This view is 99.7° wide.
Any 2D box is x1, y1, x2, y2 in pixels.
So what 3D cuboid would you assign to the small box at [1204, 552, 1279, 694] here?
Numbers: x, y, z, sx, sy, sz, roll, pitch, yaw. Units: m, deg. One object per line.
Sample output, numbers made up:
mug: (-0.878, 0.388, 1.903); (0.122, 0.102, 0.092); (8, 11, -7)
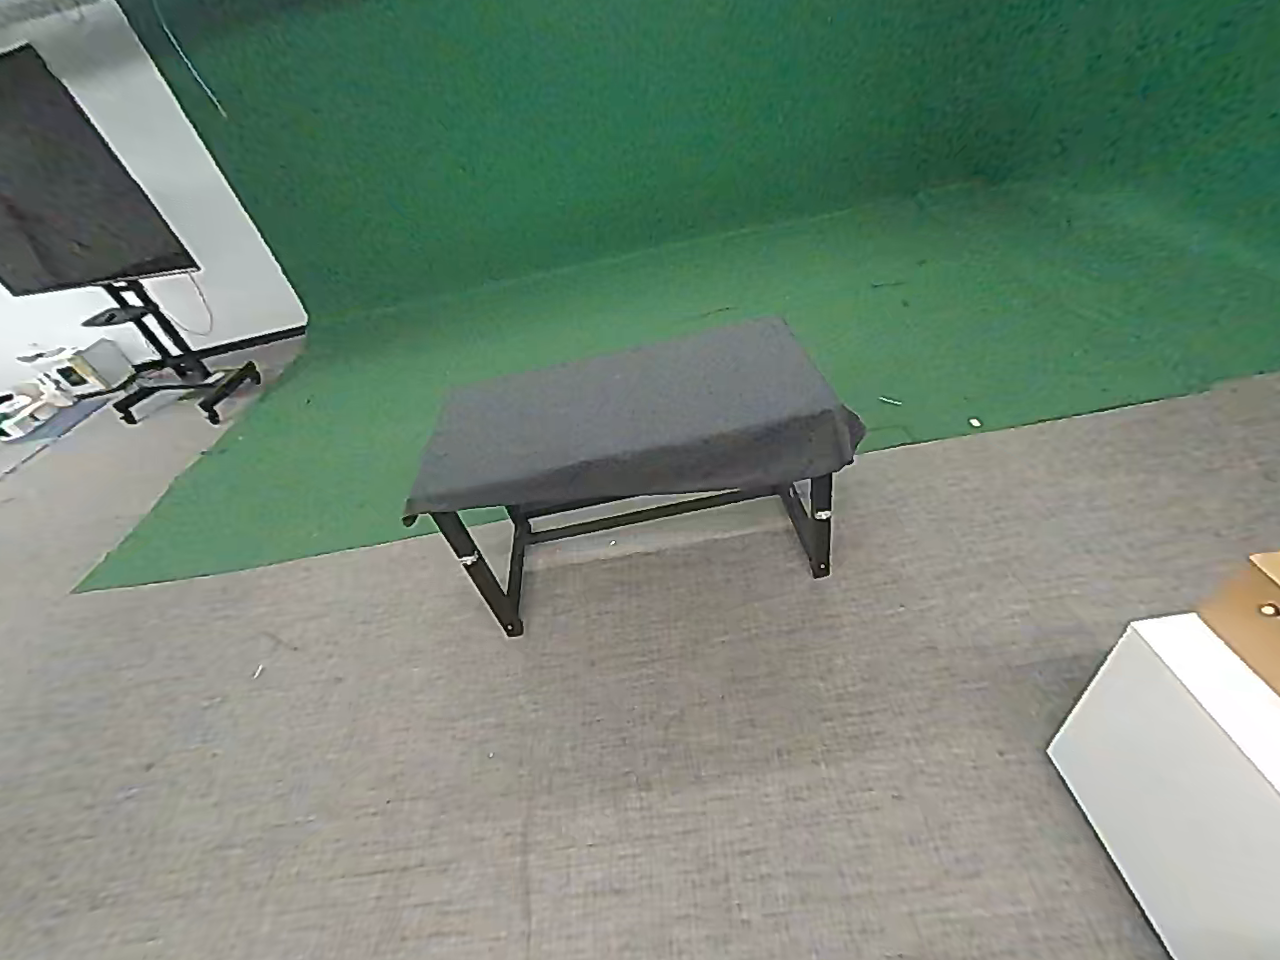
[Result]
small box: (1.066, 0.224, 0.845); (0.168, 0.176, 0.179); (-12, 42, 4)
